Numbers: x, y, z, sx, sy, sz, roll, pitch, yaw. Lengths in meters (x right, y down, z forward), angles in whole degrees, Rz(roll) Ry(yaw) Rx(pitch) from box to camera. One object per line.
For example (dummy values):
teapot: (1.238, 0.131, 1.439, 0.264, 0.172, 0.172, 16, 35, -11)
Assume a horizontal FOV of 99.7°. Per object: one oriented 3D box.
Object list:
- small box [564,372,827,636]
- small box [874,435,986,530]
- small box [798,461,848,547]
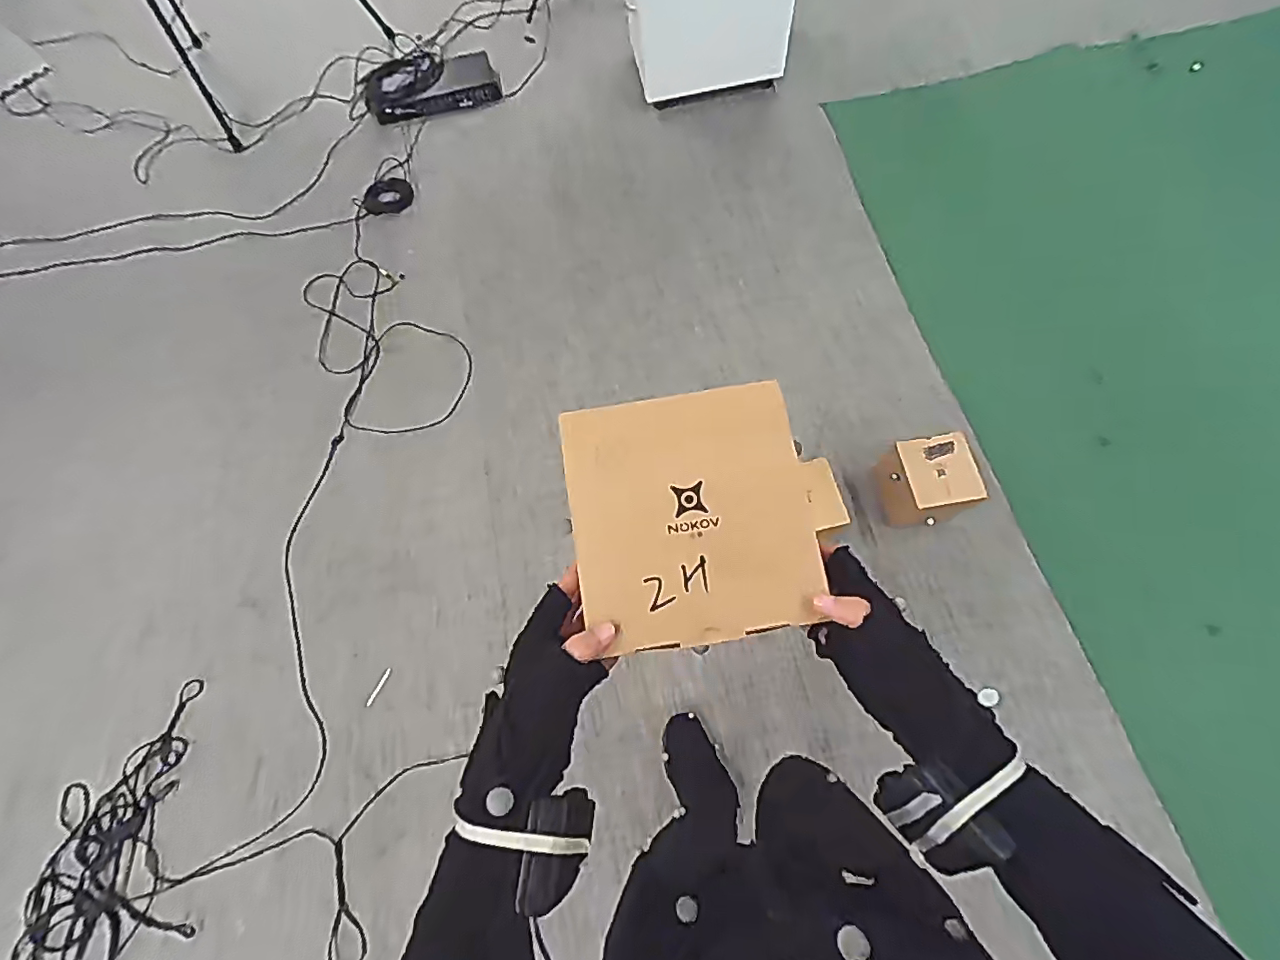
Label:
small box: (0.035, 0.032, 0.458, 0.168, 0.176, 0.179, -8, 75, -1)
small box: (0.714, 0.011, 1.355, 0.168, 0.176, 0.179, -10, 69, 1)
small box: (0.395, 0.078, 1.355, 0.168, 0.176, 0.179, -13, 67, -1)
